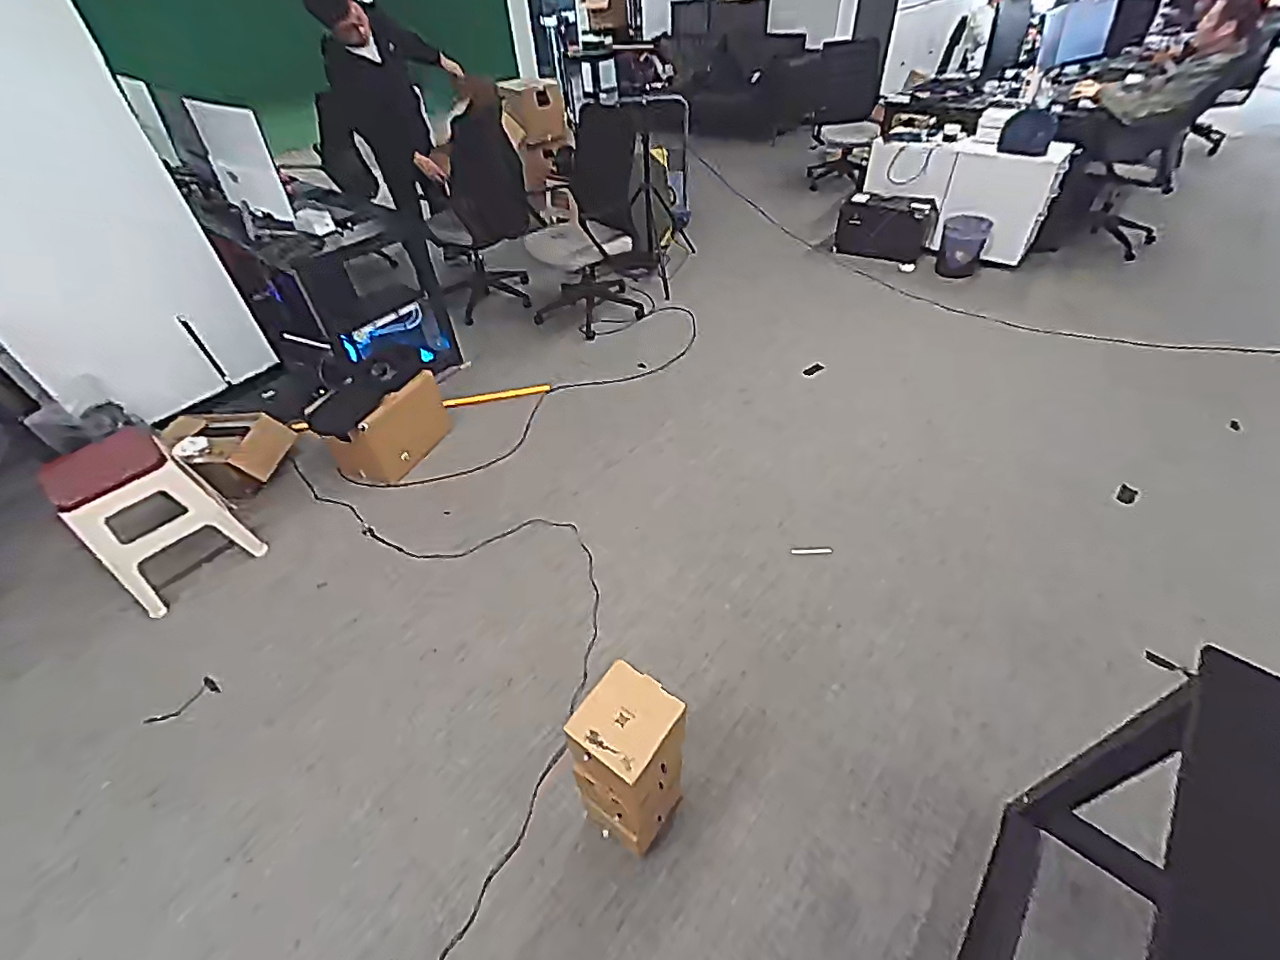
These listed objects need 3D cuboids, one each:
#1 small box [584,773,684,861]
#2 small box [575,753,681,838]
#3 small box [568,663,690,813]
[{"bbox_3d":[-0.010,0.754,1.282,0.168,0.176,0.179,25,52,28],"label":"small box"},{"bbox_3d":[-0.017,0.633,1.174,0.168,0.176,0.179,23,49,25],"label":"small box"},{"bbox_3d":[-0.018,0.508,1.066,0.168,0.176,0.179,25,50,28],"label":"small box"}]
